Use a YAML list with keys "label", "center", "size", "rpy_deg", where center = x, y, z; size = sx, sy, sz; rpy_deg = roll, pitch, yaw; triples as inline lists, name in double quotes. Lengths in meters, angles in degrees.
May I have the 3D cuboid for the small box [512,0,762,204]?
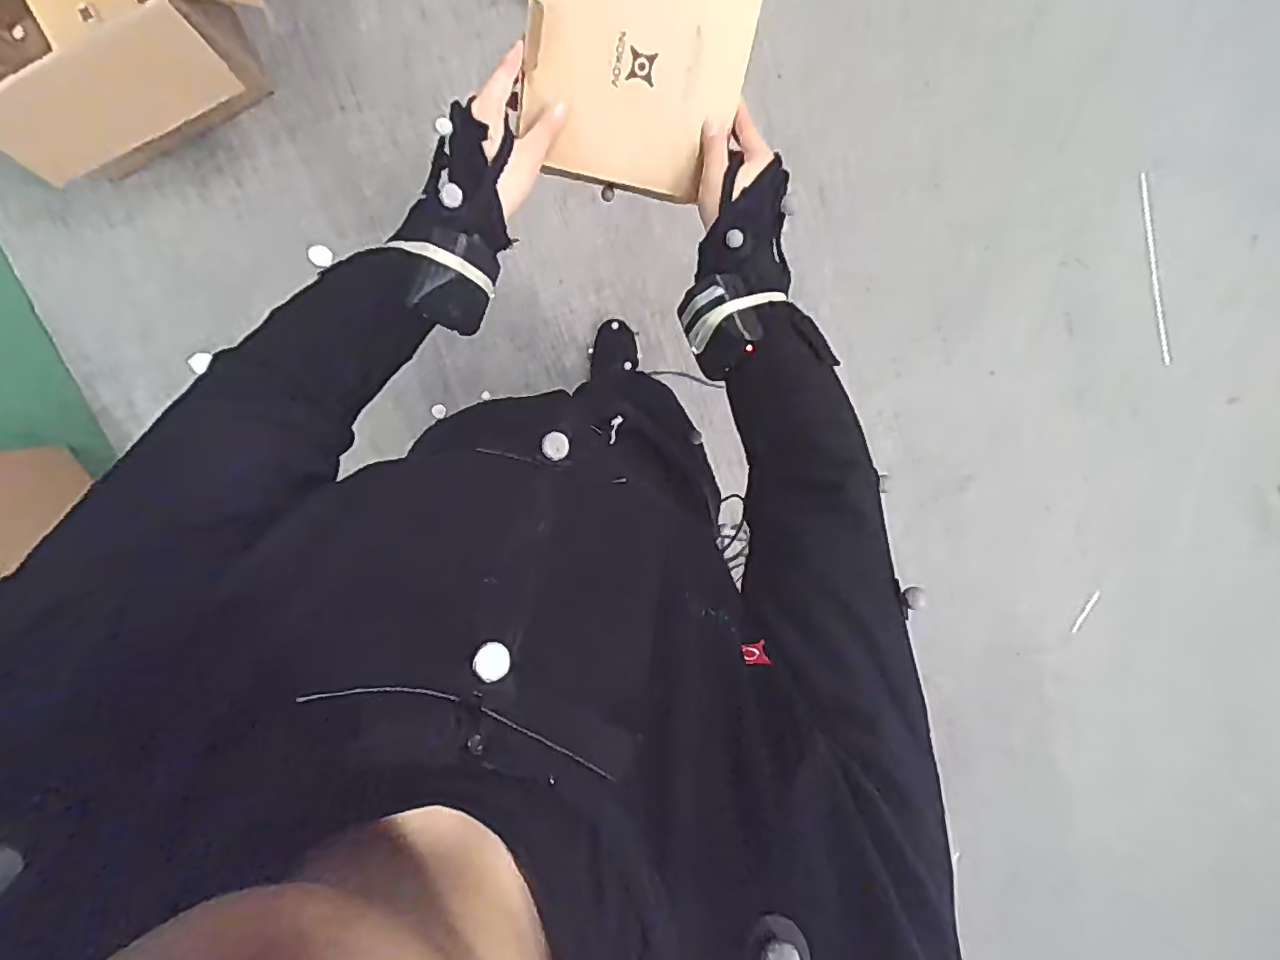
- label: "small box"
  center: [-0.015, -0.356, 0.490]
  size: [0.179, 0.176, 0.168]
  rpy_deg: [6, 116, -13]
